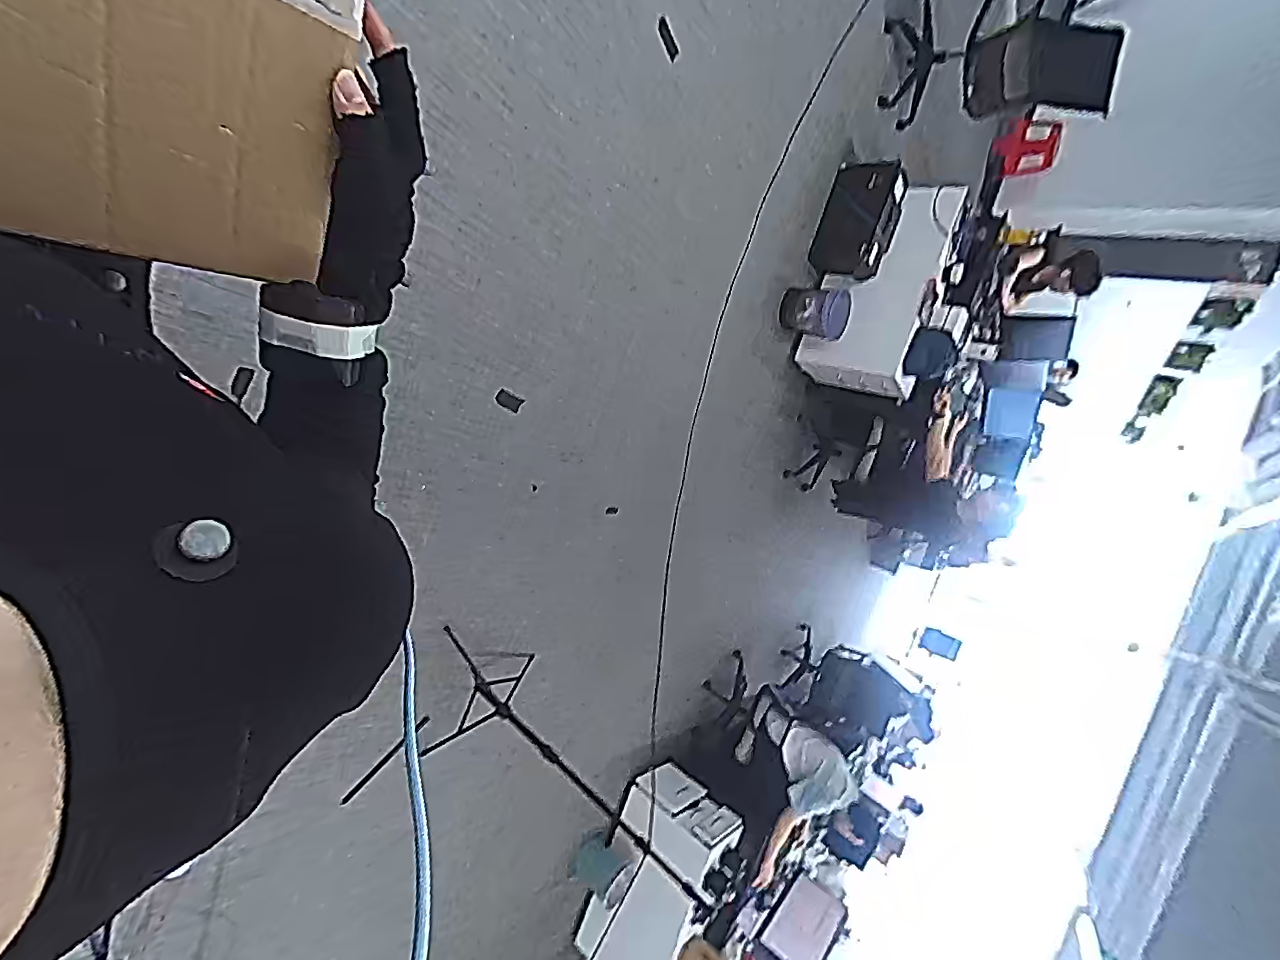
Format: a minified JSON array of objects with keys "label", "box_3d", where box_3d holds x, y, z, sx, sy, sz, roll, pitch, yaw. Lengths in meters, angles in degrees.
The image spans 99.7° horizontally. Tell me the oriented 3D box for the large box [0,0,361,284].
[{"label":"large box","box_3d":[-0.390,-0.330,0.241,0.408,0.320,0.320,-5,132,-48]}]
